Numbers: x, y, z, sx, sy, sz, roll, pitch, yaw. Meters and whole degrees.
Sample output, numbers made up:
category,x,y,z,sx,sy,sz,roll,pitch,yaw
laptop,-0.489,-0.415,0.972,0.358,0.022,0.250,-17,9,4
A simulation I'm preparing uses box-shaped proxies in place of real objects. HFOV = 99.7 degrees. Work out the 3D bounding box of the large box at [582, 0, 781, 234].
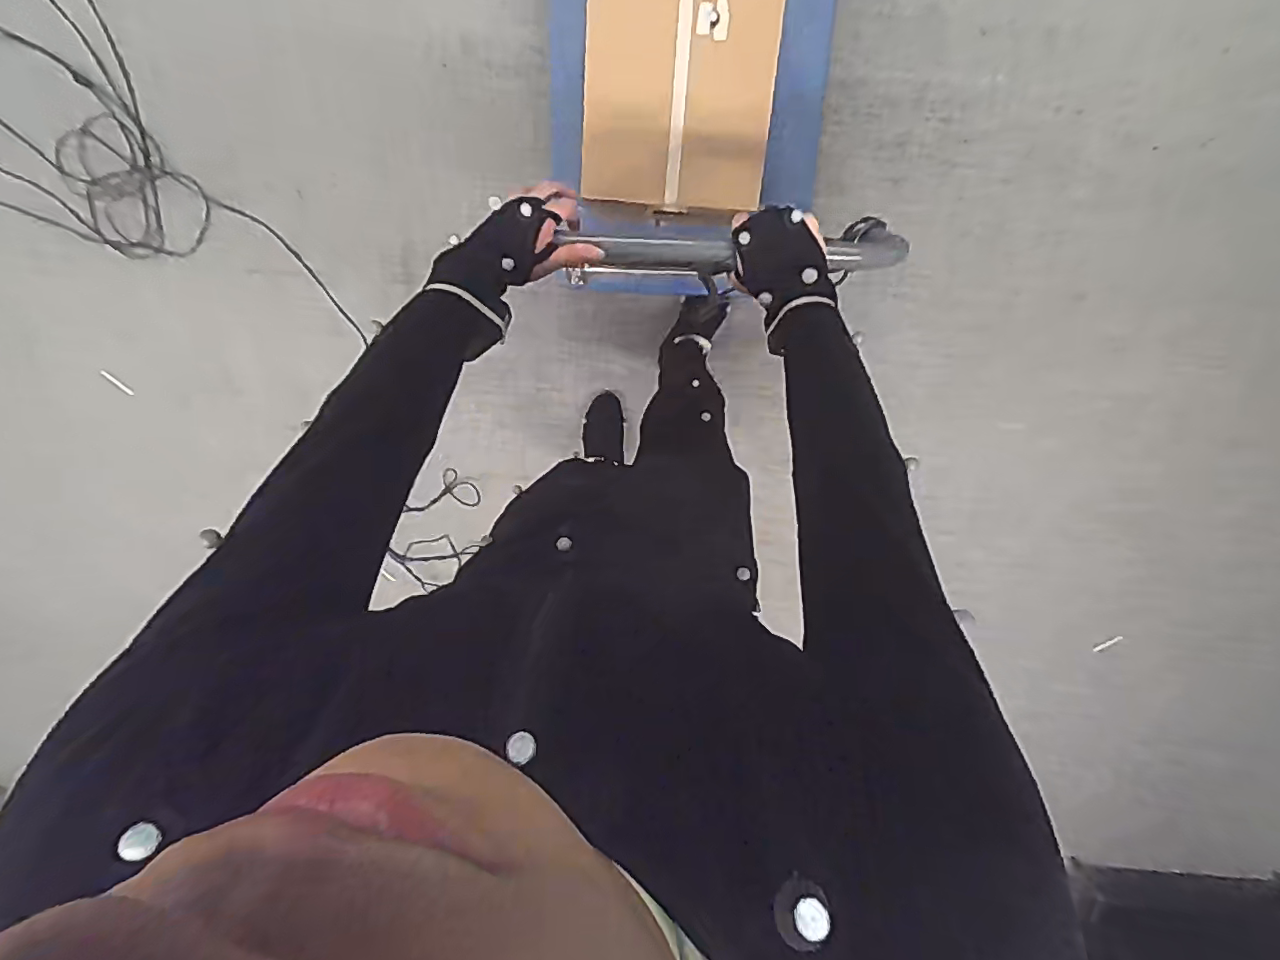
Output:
category,x,y,z,sx,sy,sz,roll,pitch,yaw
large box,0.069,-0.710,1.032,0.320,0.320,0.408,5,109,0
